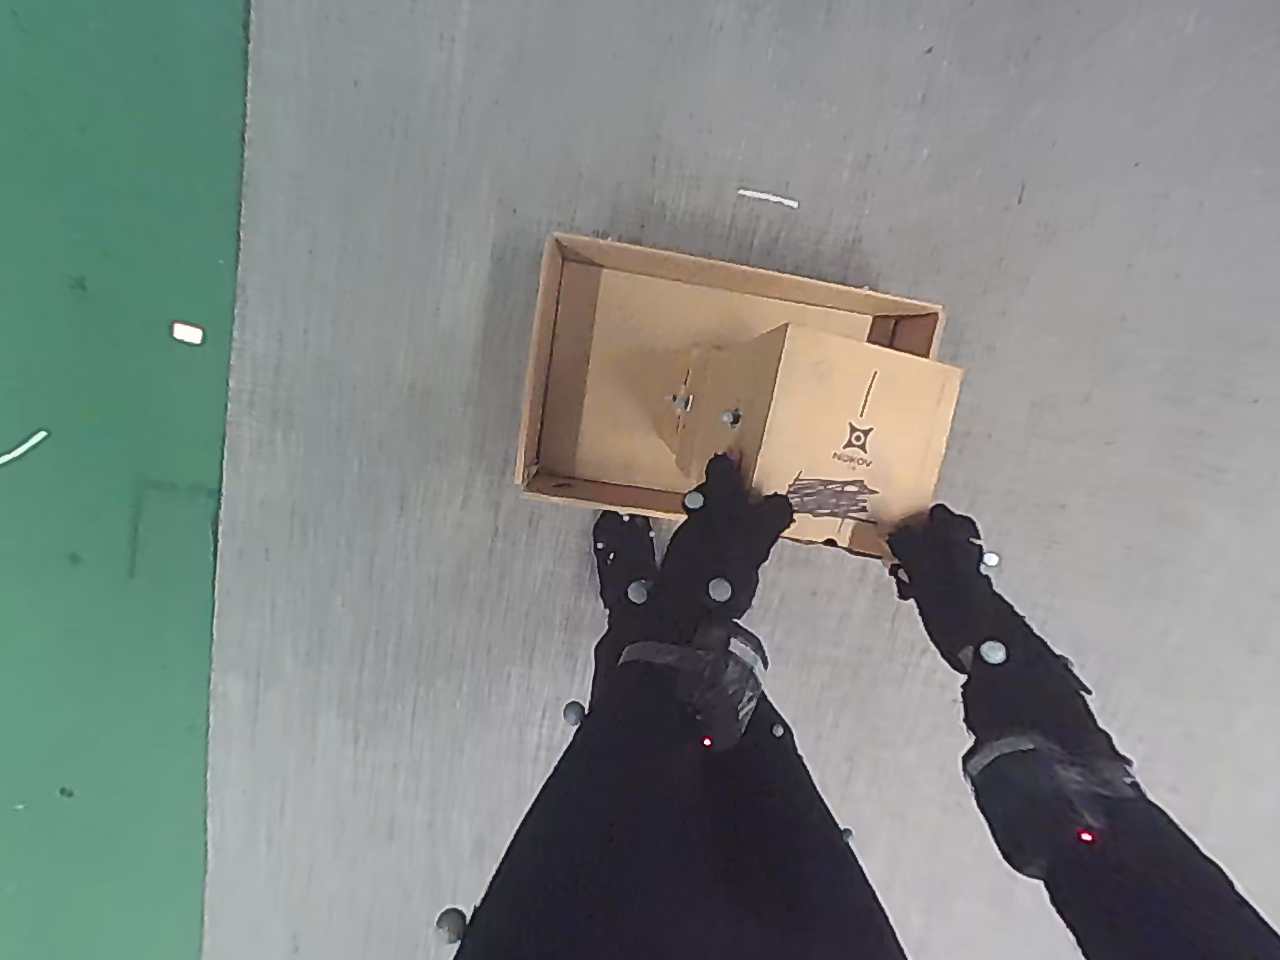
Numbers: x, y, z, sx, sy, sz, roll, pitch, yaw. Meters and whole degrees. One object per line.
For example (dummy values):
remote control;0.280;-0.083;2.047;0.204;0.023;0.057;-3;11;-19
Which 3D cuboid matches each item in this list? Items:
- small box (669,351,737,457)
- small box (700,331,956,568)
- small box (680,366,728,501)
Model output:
small box;0.147;-0.114;0.901;0.179;0.176;0.168;7;99;-4
small box;0.168;-0.028;0.541;0.168;0.176;0.179;12;92;-9
small box;0.159;-0.062;0.727;0.179;0.176;0.168;5;100;-4
